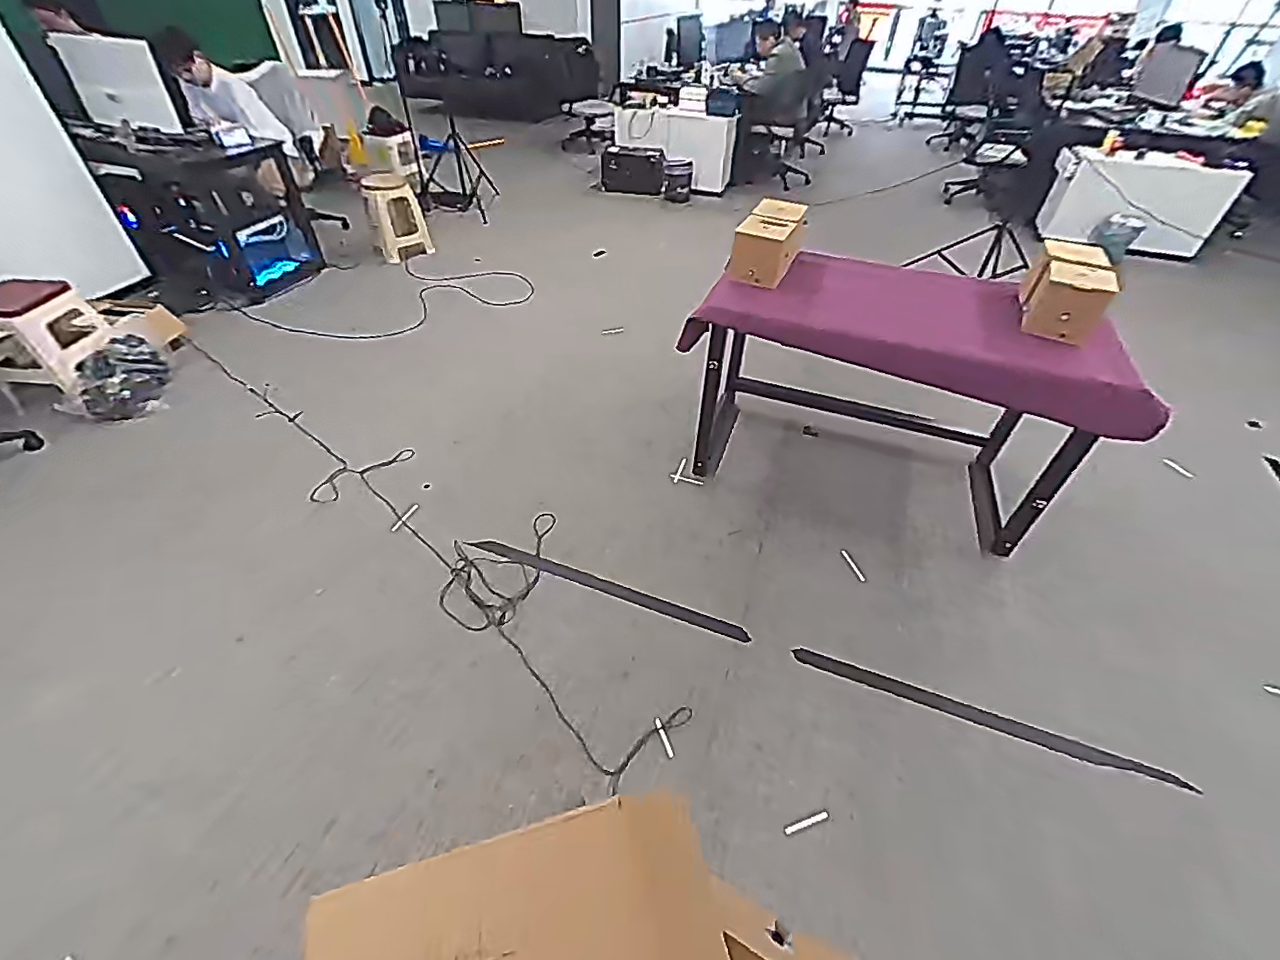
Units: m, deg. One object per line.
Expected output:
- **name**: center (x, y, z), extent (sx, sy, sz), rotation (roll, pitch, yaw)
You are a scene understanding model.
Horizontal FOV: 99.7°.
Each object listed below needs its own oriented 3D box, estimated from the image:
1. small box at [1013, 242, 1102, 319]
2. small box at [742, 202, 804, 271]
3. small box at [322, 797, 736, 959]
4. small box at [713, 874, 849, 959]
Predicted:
- **small box**: center (1.340, -0.645, 1.749), extent (0.168, 0.176, 0.179), rotation (19, 45, 16)
- **small box**: center (0.481, -0.887, 1.967), extent (0.168, 0.176, 0.179), rotation (18, 47, 17)
- **small box**: center (-0.035, 0.286, 0.282), extent (0.168, 0.176, 0.179), rotation (-21, 57, 4)
- **small box**: center (0.067, 0.408, 0.379), extent (0.179, 0.176, 0.168), rotation (18, 67, 25)
